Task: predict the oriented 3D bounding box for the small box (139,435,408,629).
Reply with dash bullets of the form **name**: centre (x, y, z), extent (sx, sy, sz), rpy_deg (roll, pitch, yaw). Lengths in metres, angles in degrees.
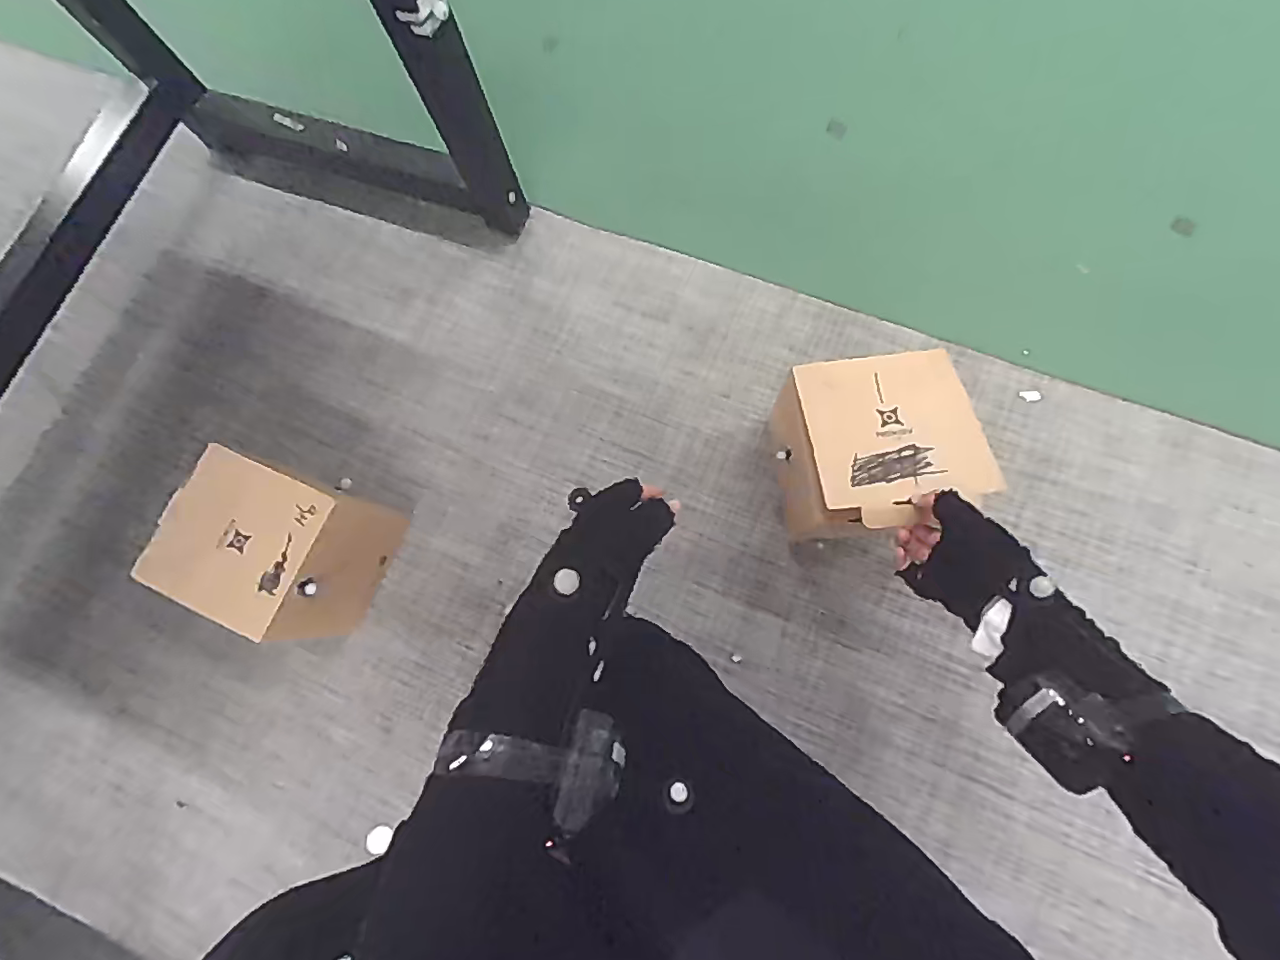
- **small box**: centre (-0.432, 0.069, 0.667), extent (0.179, 0.176, 0.168), rpy_deg (23, 81, 10)
